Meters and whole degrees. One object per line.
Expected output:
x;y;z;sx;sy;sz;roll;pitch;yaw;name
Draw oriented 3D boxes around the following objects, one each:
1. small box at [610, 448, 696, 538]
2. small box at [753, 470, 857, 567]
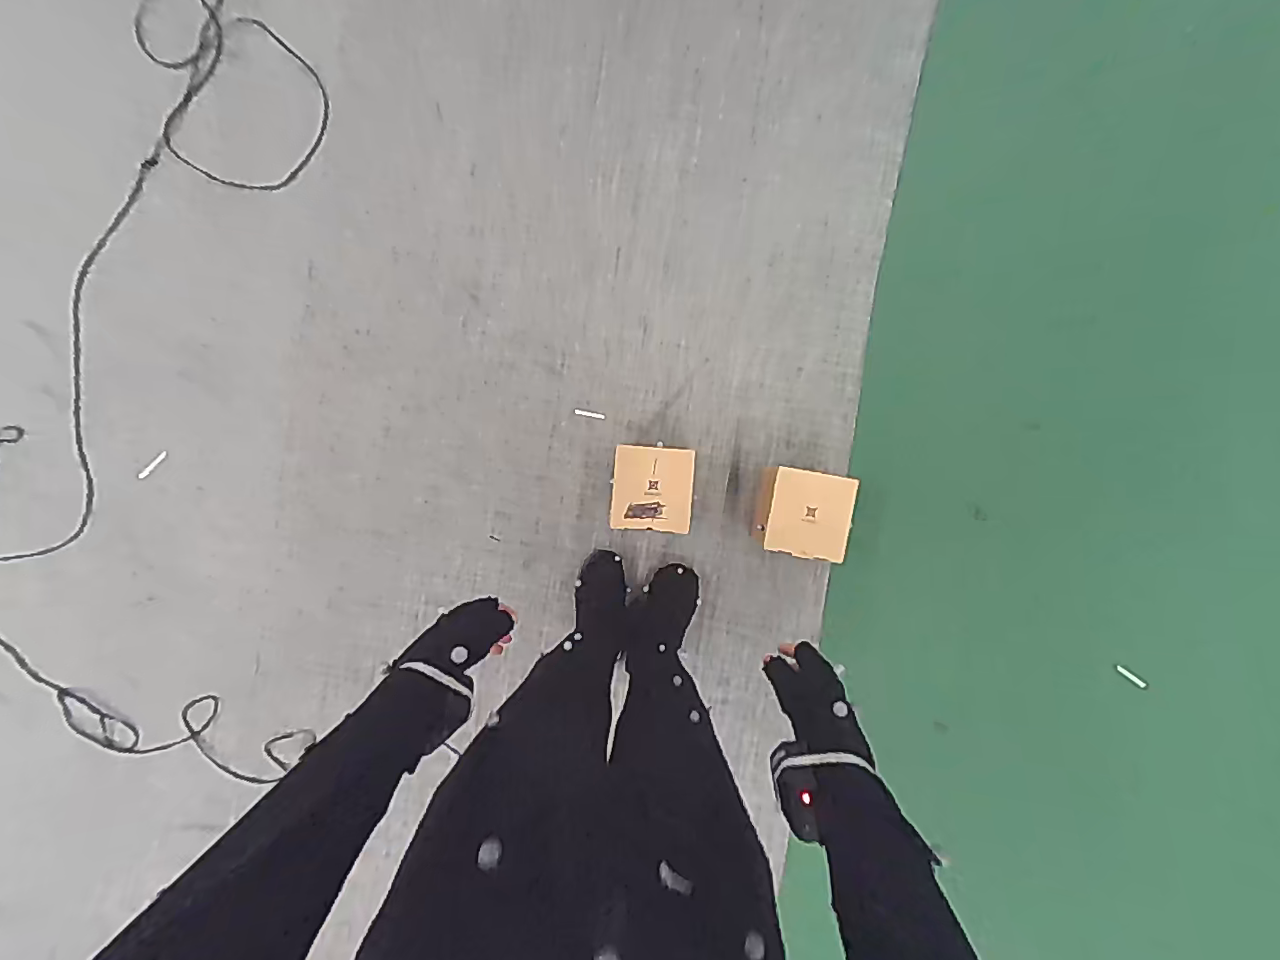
0.031;0.026;1.195;0.168;0.176;0.179;5;91;2;small box
0.350;0.078;1.182;0.168;0.176;0.179;10;92;3;small box
